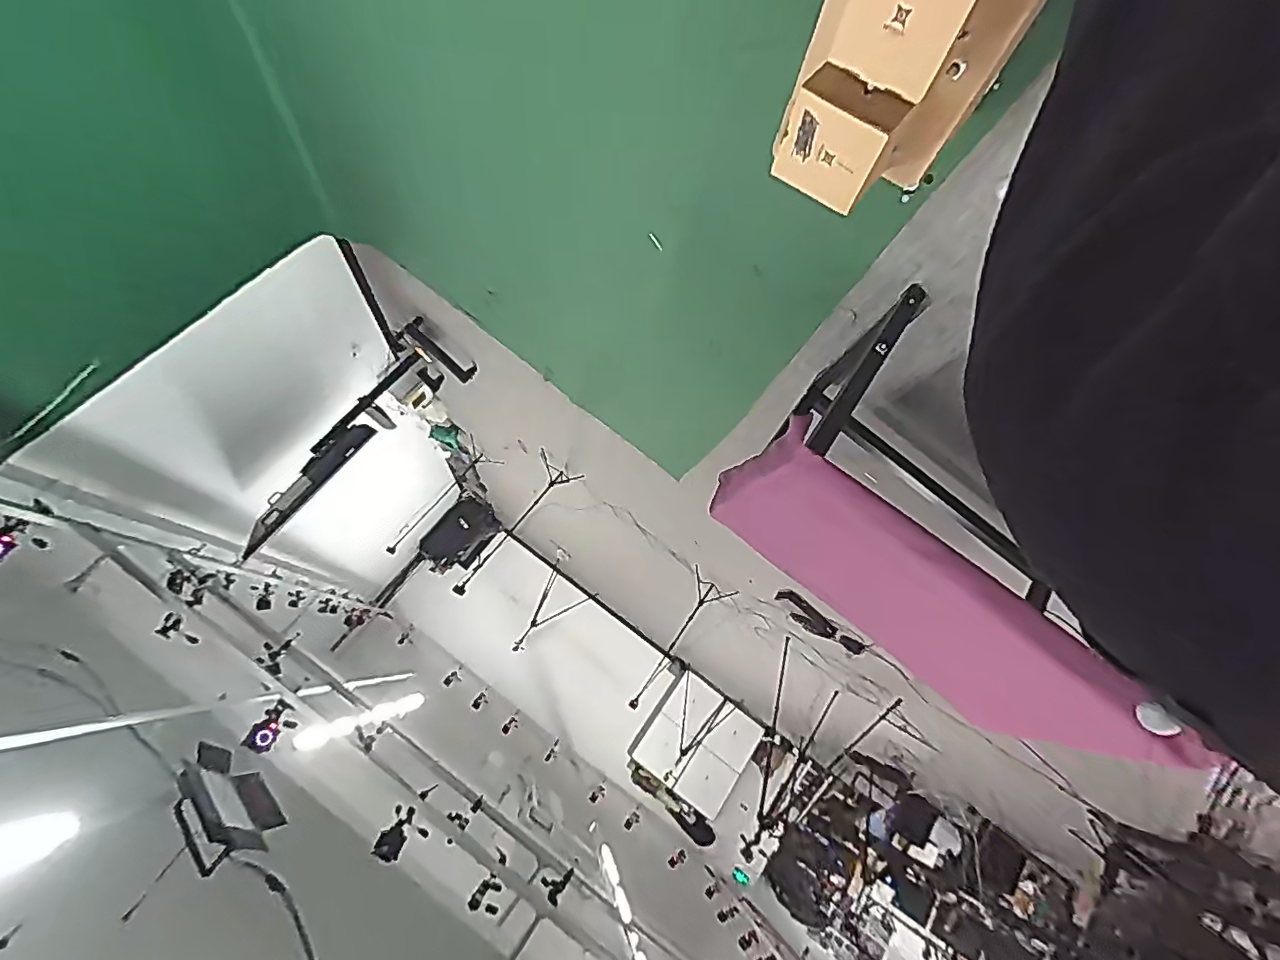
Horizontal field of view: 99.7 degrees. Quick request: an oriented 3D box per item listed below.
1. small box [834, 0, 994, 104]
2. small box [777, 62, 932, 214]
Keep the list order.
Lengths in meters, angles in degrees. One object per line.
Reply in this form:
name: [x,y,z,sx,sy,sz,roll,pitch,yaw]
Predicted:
small box: [0.424,-0.714,0.793,0.168,0.176,0.179,34,159,9]
small box: [0.391,-0.643,0.997,0.179,0.176,0.168,36,160,9]
